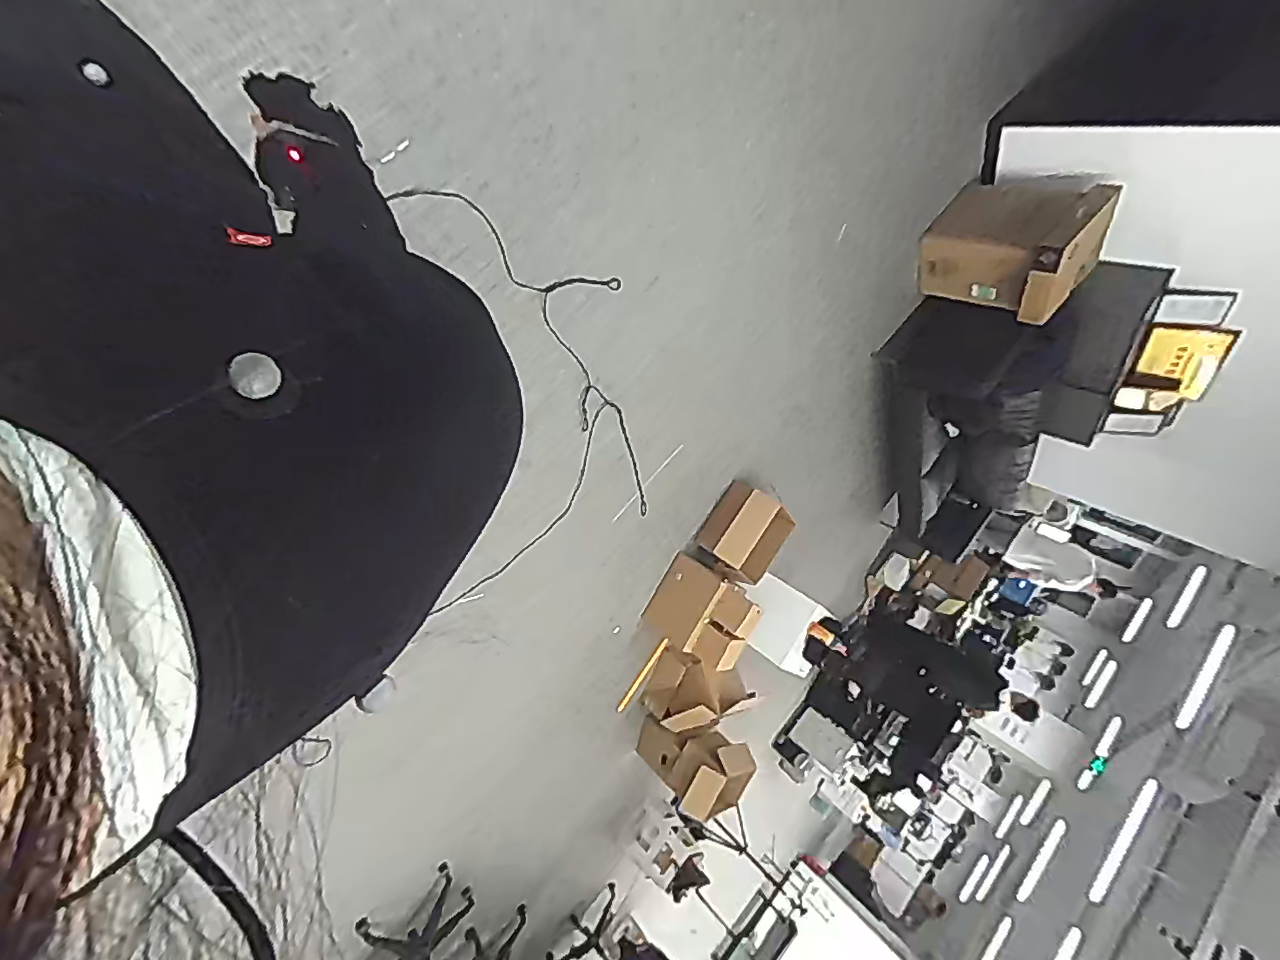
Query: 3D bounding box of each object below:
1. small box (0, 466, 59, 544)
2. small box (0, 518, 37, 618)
[{"bbox_3d":[-1.218,0.068,0.974,0.179,0.176,0.168,-50,141,-10],"label":"small box"},{"bbox_3d":[-1.129,0.154,0.865,0.179,0.176,0.168,-48,141,-12],"label":"small box"}]
